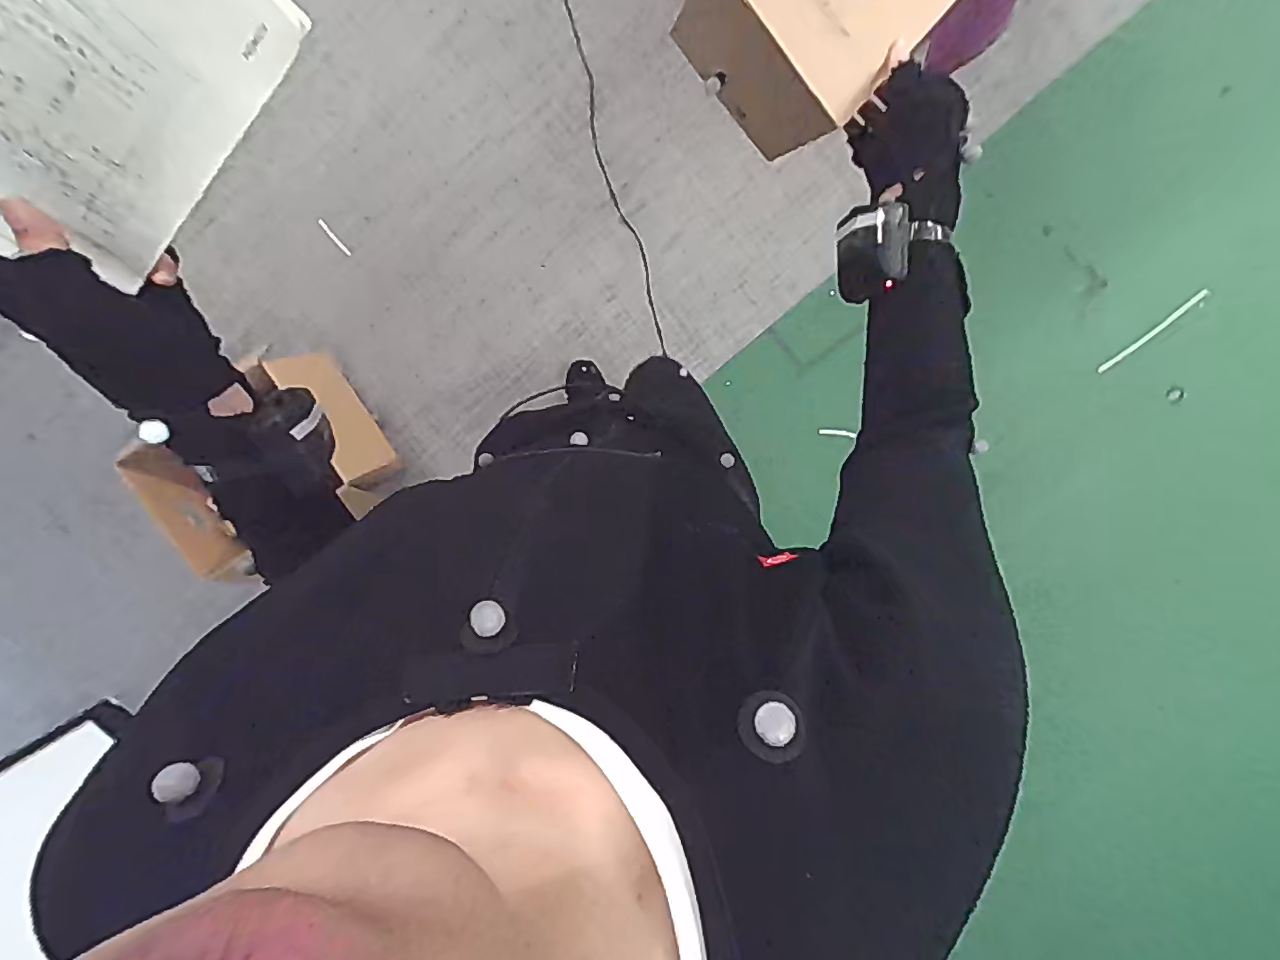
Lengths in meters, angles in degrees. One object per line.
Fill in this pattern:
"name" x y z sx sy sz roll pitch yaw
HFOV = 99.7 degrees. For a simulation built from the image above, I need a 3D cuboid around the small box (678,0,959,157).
"small box" 0.157 -0.434 0.487 0.168 0.176 0.179 40 101 -21
